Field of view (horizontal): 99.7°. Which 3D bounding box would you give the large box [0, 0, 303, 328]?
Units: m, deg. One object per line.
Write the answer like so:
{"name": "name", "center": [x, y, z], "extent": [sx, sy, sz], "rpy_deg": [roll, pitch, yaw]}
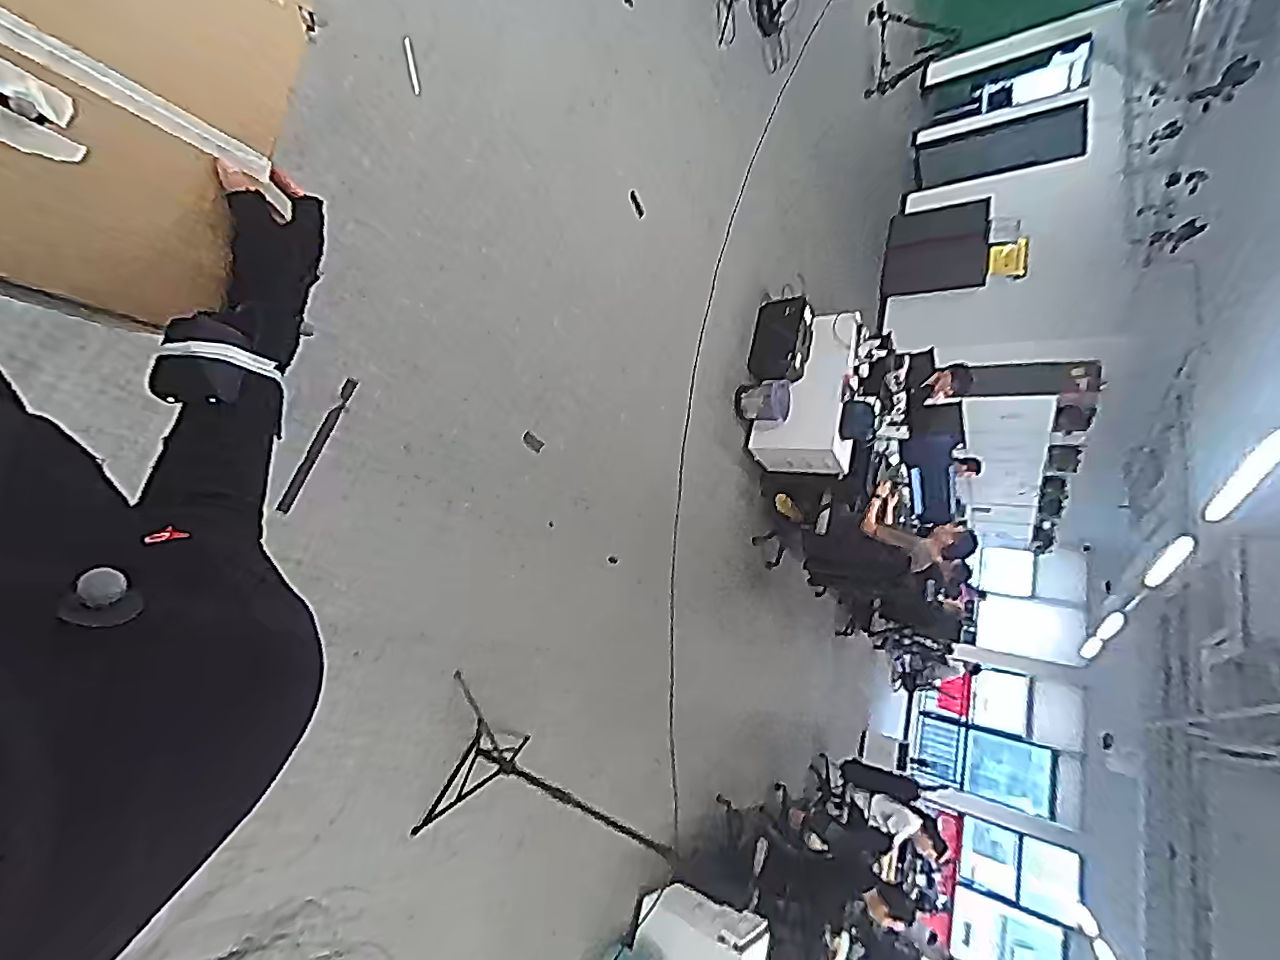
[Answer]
{"name": "large box", "center": [-0.567, -0.338, 0.406], "extent": [0.408, 0.320, 0.320], "rpy_deg": [16, 89, -55]}
